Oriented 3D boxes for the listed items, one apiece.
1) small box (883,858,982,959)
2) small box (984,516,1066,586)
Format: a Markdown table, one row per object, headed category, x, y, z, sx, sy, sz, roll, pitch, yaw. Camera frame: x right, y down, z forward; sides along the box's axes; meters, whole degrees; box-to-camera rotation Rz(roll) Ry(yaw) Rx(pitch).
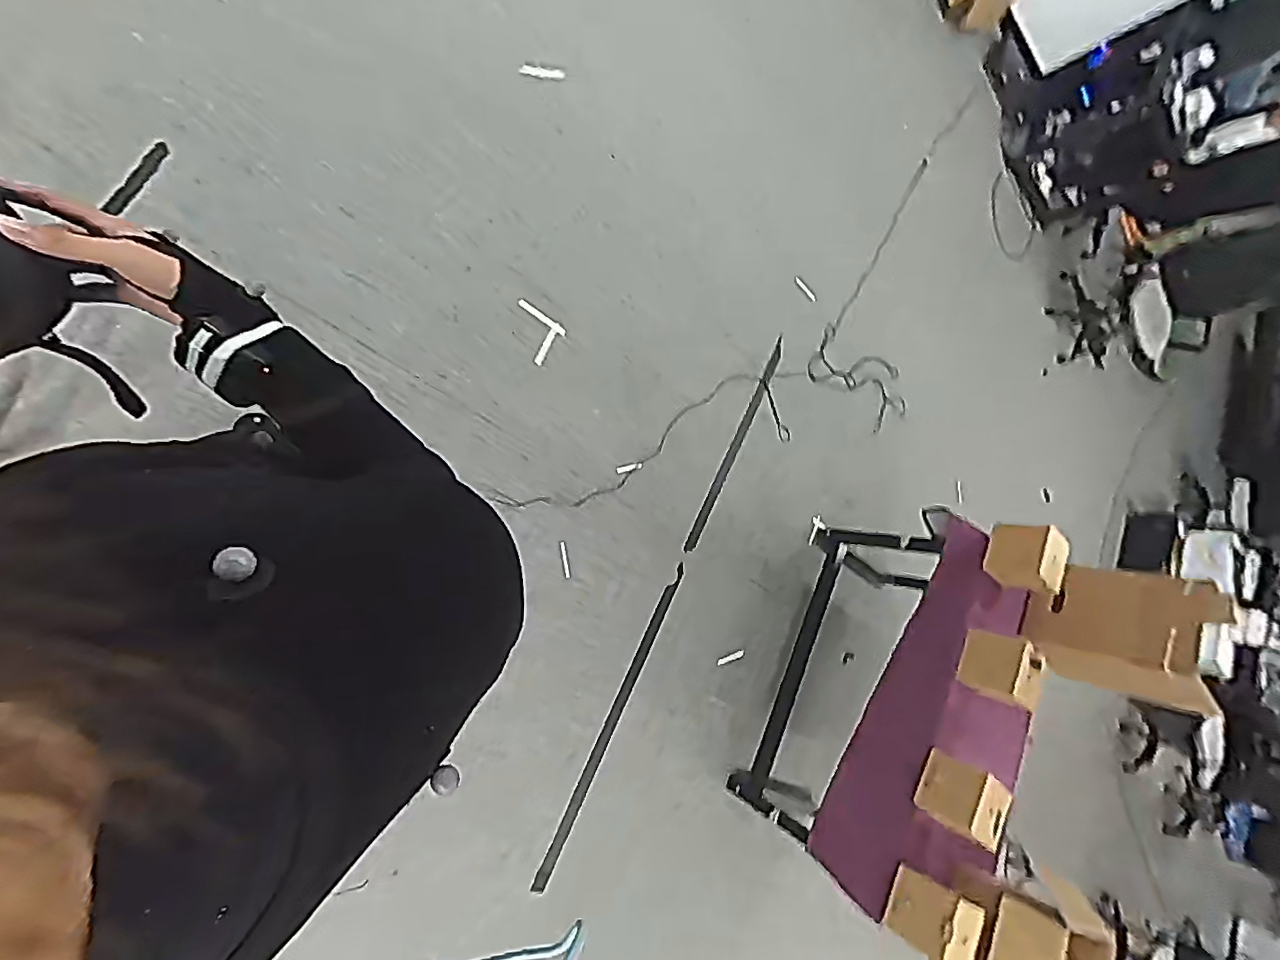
| category | x | y | z | sx | sy | sz | roll | pitch | yaw |
| --- | --- | --- | --- | --- | --- | --- | --- | --- | --- |
| small box | 0.823 | 1.212 | 1.527 | 0.179 | 0.176 | 0.168 | 39 | 70 | -27 |
| small box | 1.282 | 0.230 | 1.806 | 0.168 | 0.176 | 0.179 | 31 | 76 | -29 |
